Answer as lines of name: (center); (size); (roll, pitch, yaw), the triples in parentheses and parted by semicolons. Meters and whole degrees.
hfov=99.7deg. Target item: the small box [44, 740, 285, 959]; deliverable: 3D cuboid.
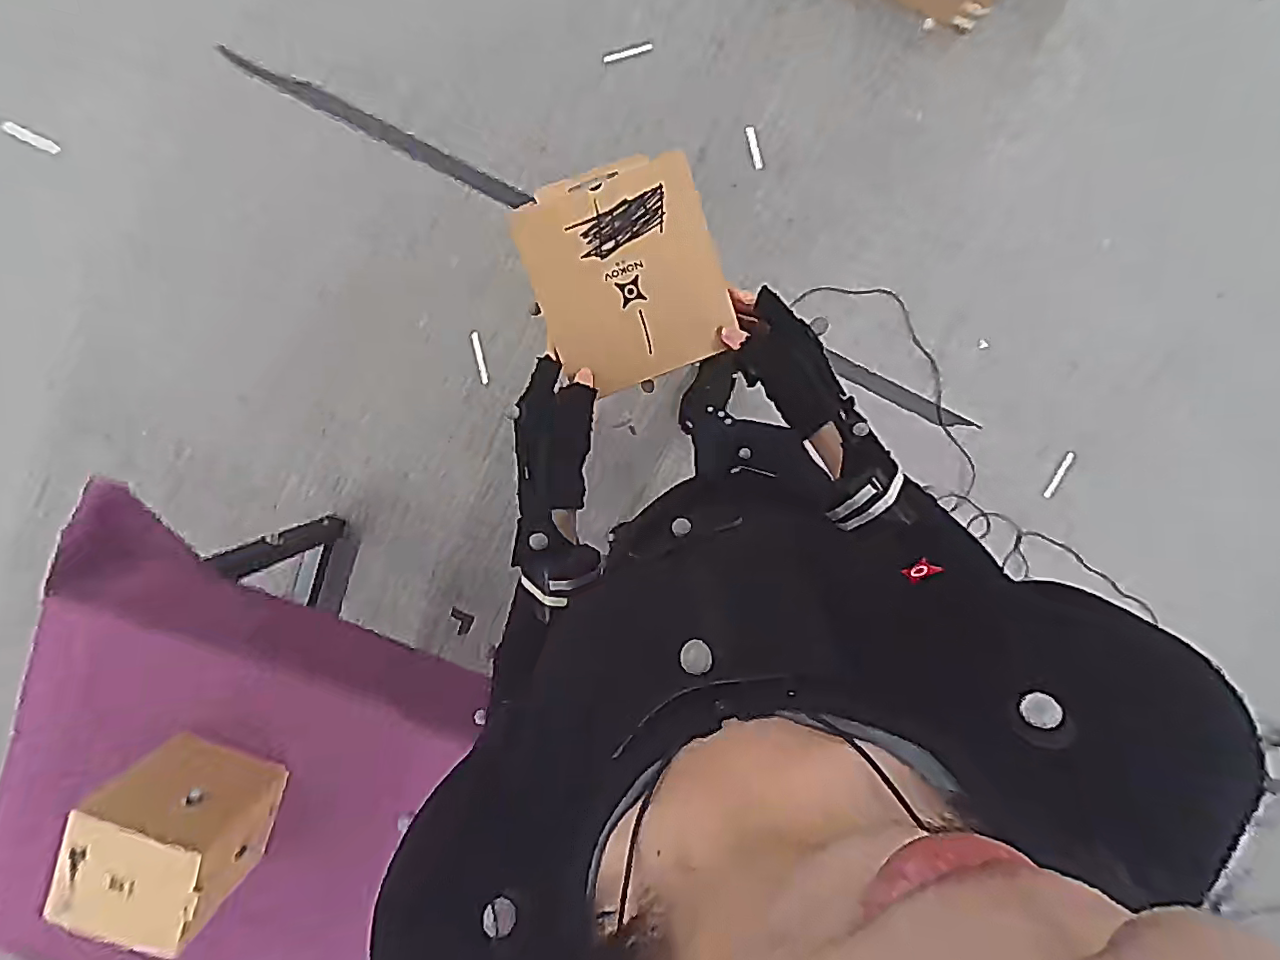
small box: (-0.647, 0.501, 0.758); (0.179, 0.176, 0.168); (20, 97, -3)

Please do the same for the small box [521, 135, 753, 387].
small box: (-0.007, -0.202, 0.552); (0.168, 0.176, 0.179); (-20, 102, -1)
